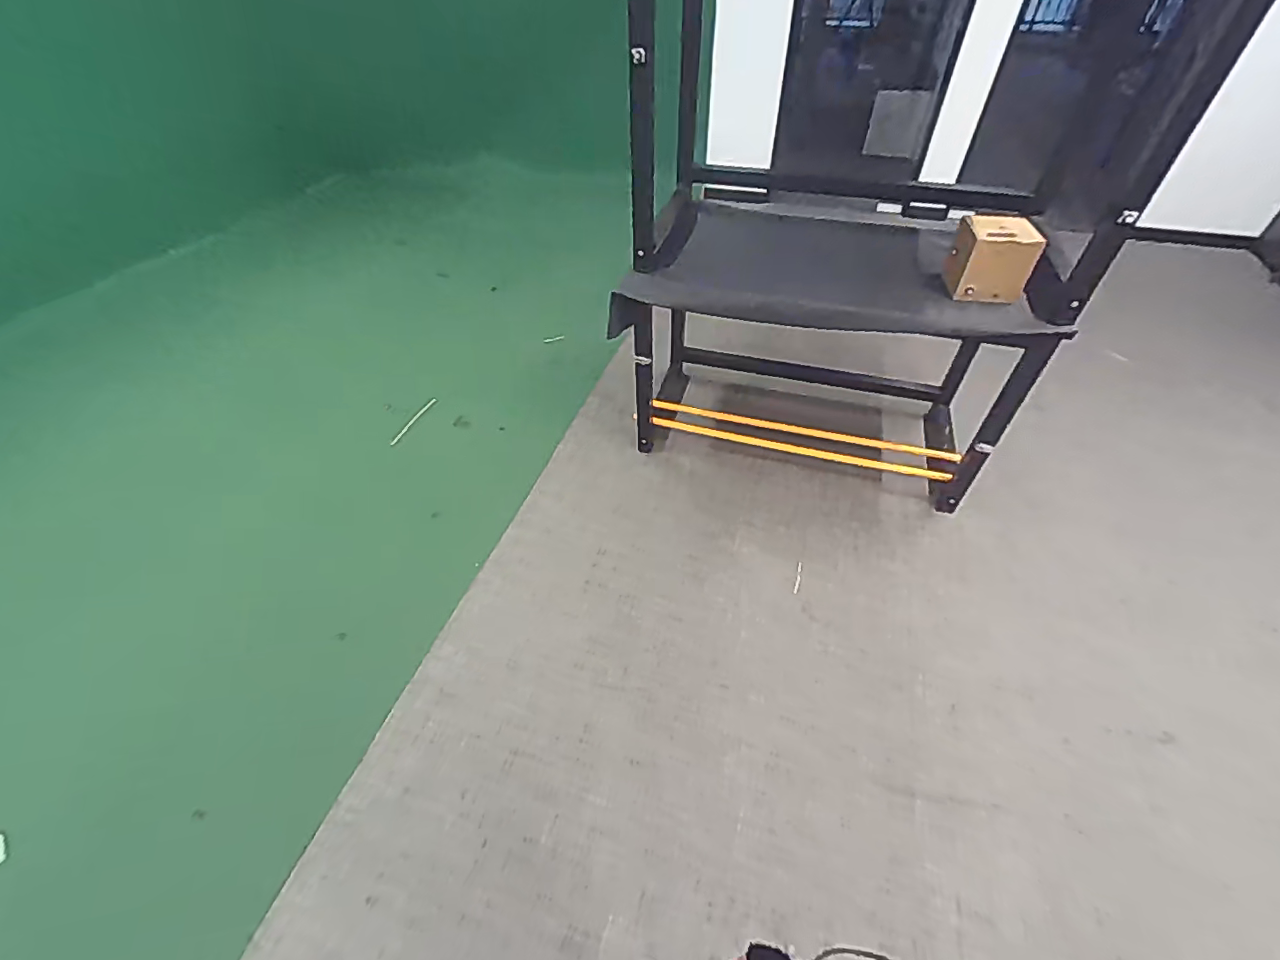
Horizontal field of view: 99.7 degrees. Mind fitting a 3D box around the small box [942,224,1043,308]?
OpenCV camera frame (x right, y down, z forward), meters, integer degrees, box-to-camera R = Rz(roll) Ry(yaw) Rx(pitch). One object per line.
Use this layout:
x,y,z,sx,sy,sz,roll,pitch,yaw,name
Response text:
0.966,-0.592,1.499,0.168,0.176,0.179,7,45,9,small box
